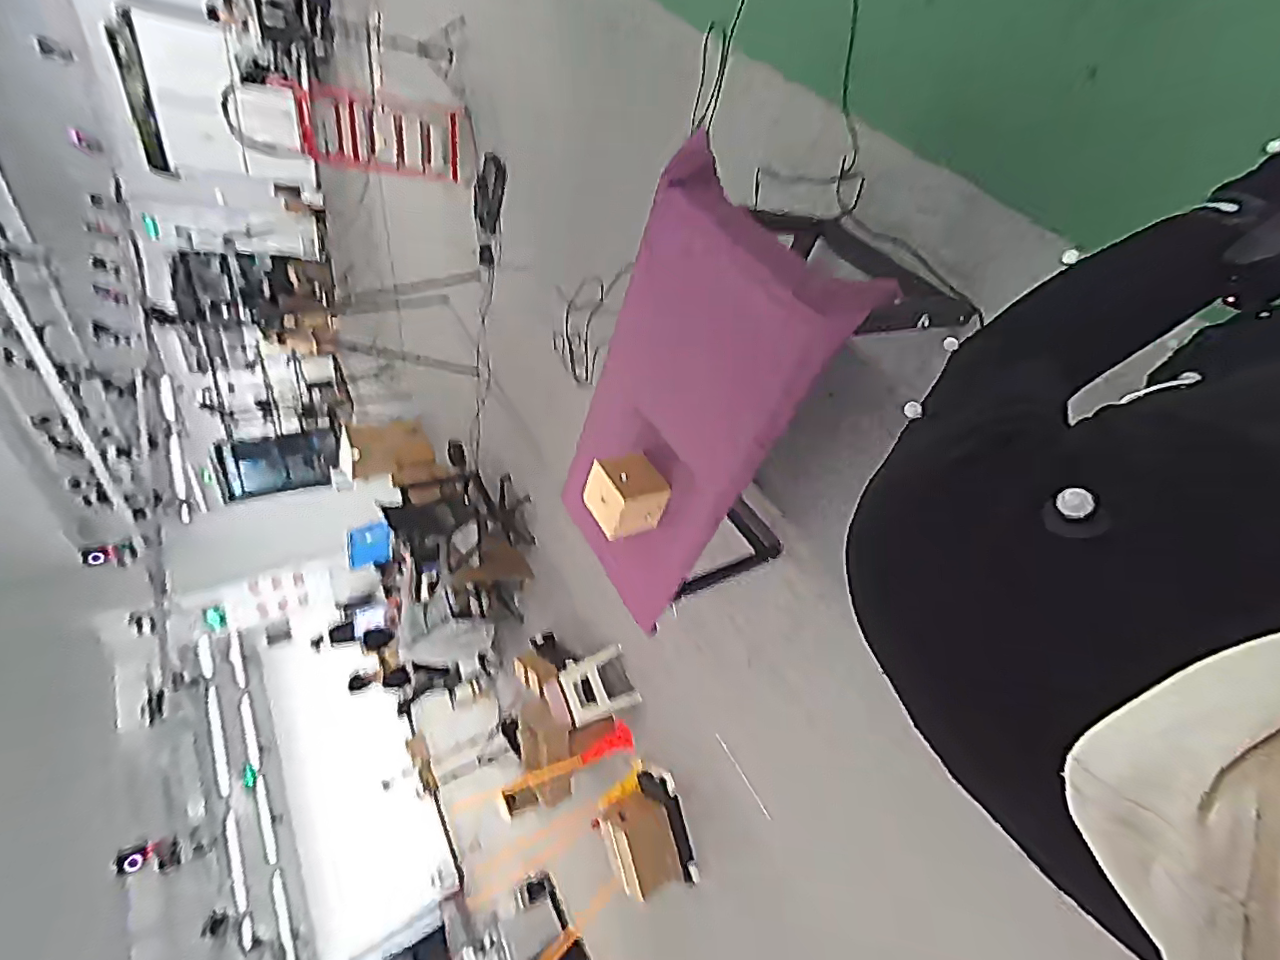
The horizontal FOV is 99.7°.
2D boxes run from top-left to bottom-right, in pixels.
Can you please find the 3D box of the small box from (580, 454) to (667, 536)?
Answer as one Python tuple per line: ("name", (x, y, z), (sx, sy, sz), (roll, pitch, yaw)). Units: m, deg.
("small box", (-0.050, 0.037, 1.609), (0.179, 0.176, 0.168), (52, 138, 30))
